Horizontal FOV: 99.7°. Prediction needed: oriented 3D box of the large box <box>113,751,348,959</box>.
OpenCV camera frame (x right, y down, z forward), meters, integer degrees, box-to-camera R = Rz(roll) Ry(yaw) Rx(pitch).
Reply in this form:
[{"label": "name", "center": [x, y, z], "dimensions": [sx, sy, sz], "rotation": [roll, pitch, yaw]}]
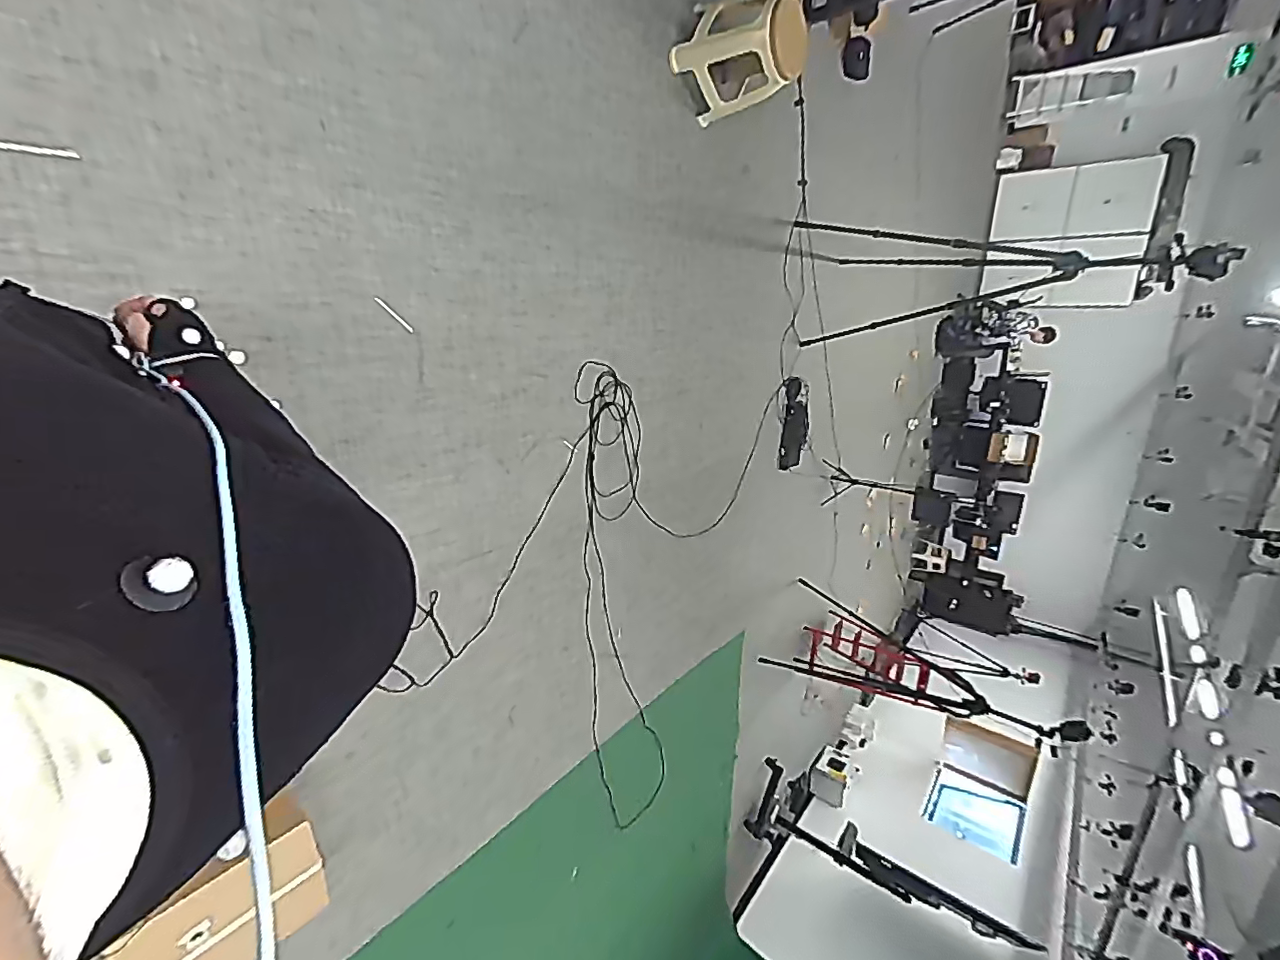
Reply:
[{"label": "large box", "center": [-1.073, 1.029, 1.442], "dimensions": [0.408, 0.320, 0.320], "rotation": [-21, 116, -45]}]
